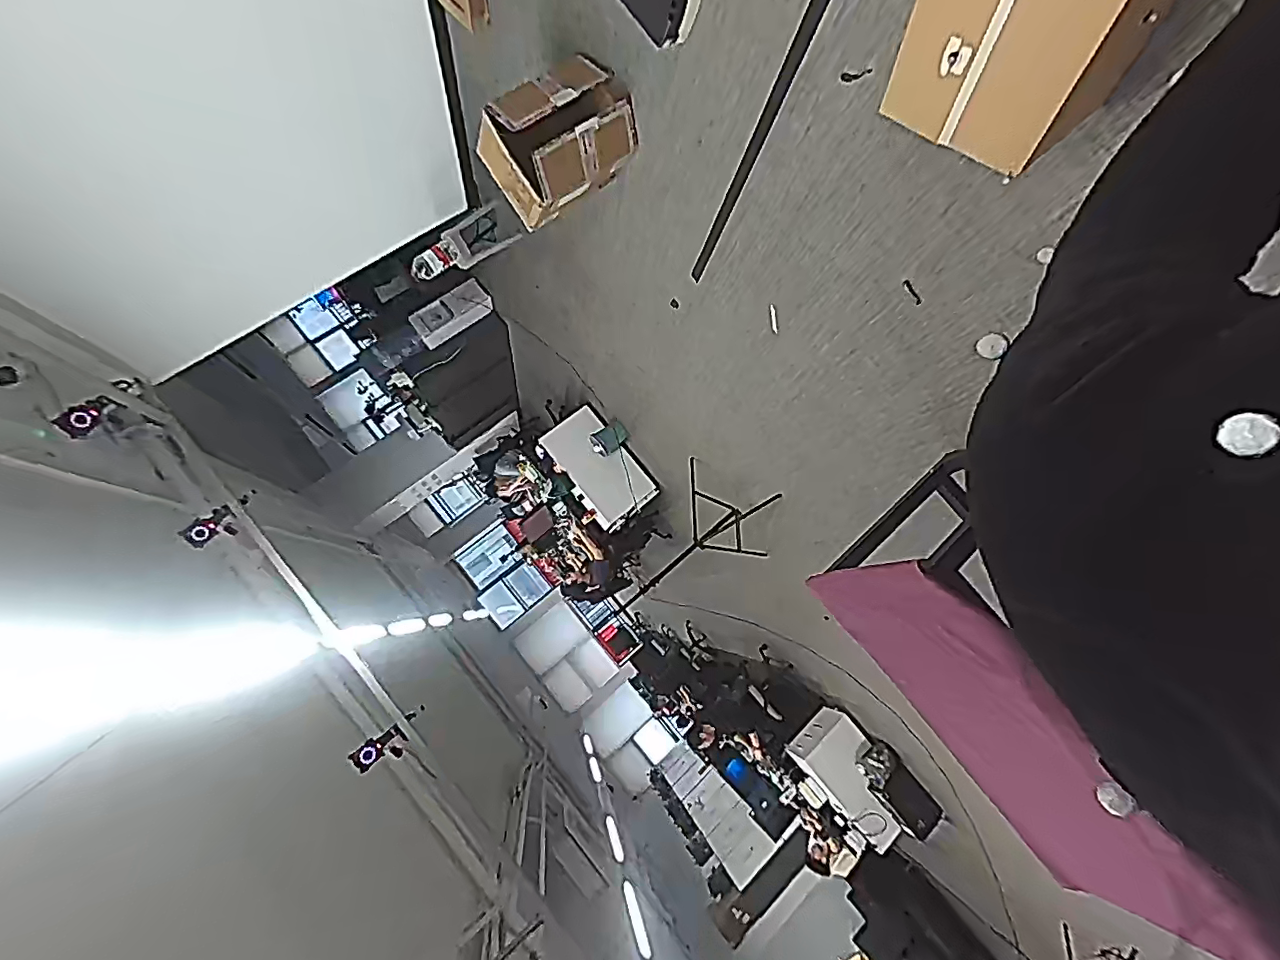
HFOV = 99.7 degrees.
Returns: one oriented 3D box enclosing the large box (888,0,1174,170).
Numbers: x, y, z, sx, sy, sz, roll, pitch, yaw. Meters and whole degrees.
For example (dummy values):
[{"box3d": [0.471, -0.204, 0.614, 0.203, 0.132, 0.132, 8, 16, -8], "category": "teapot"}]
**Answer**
[{"box3d": [0.698, -0.841, 0.900, 0.320, 0.320, 0.408, 45, 165, 22], "category": "large box"}]
